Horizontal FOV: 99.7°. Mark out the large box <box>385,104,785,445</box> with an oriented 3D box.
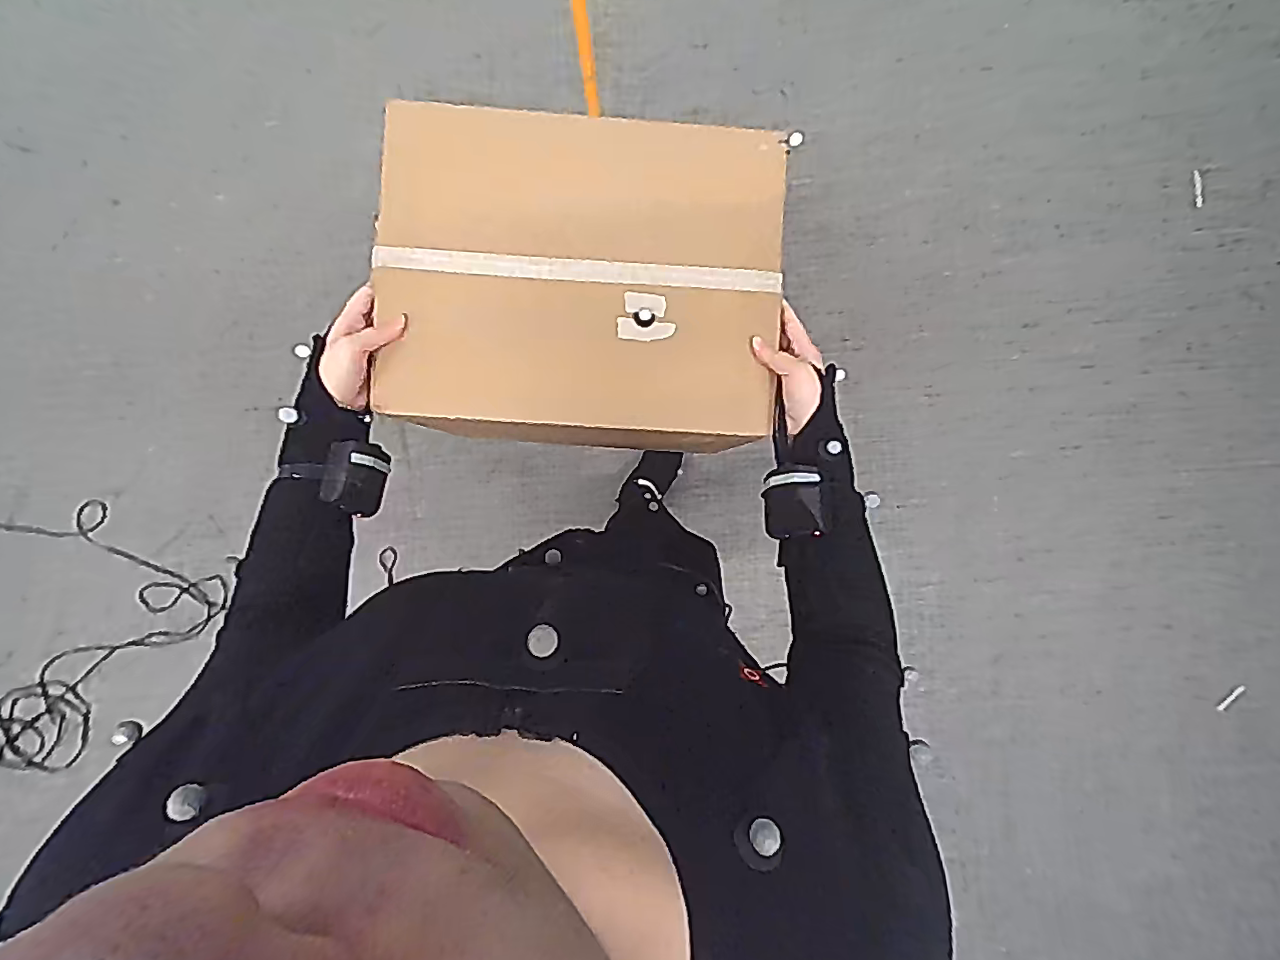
[{"bbox_3d":[-0.063,-0.217,0.700,0.408,0.320,0.320,3,90,-4],"label":"large box"}]
